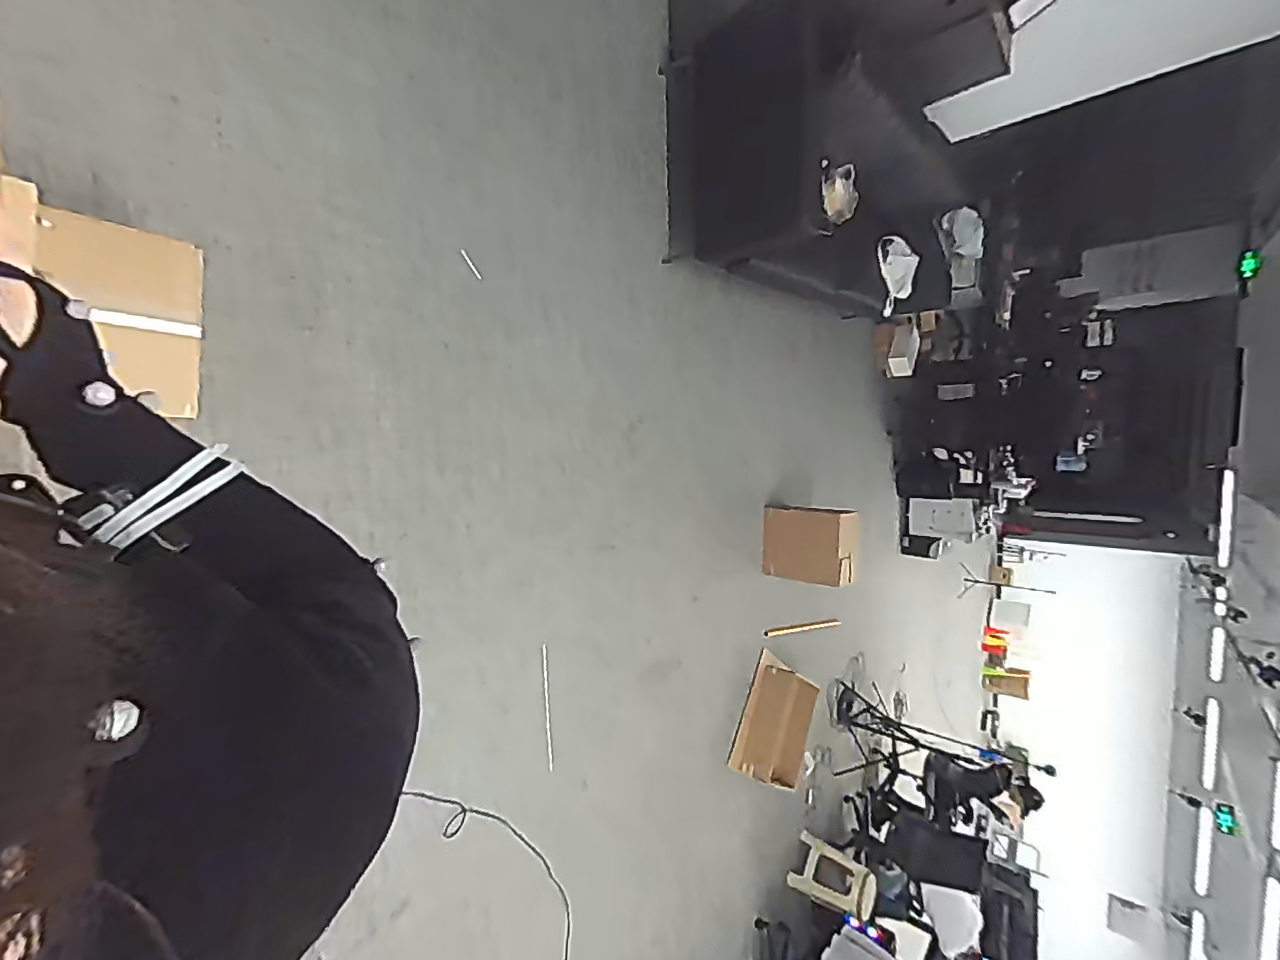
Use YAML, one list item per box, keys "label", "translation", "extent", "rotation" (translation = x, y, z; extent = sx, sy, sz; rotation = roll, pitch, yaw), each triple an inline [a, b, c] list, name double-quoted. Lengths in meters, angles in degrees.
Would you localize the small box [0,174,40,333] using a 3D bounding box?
- label: "small box"
  translation: [-0.897, -0.299, 0.694]
  extent: [0.168, 0.176, 0.179]
  rotation: [0, 89, -49]
